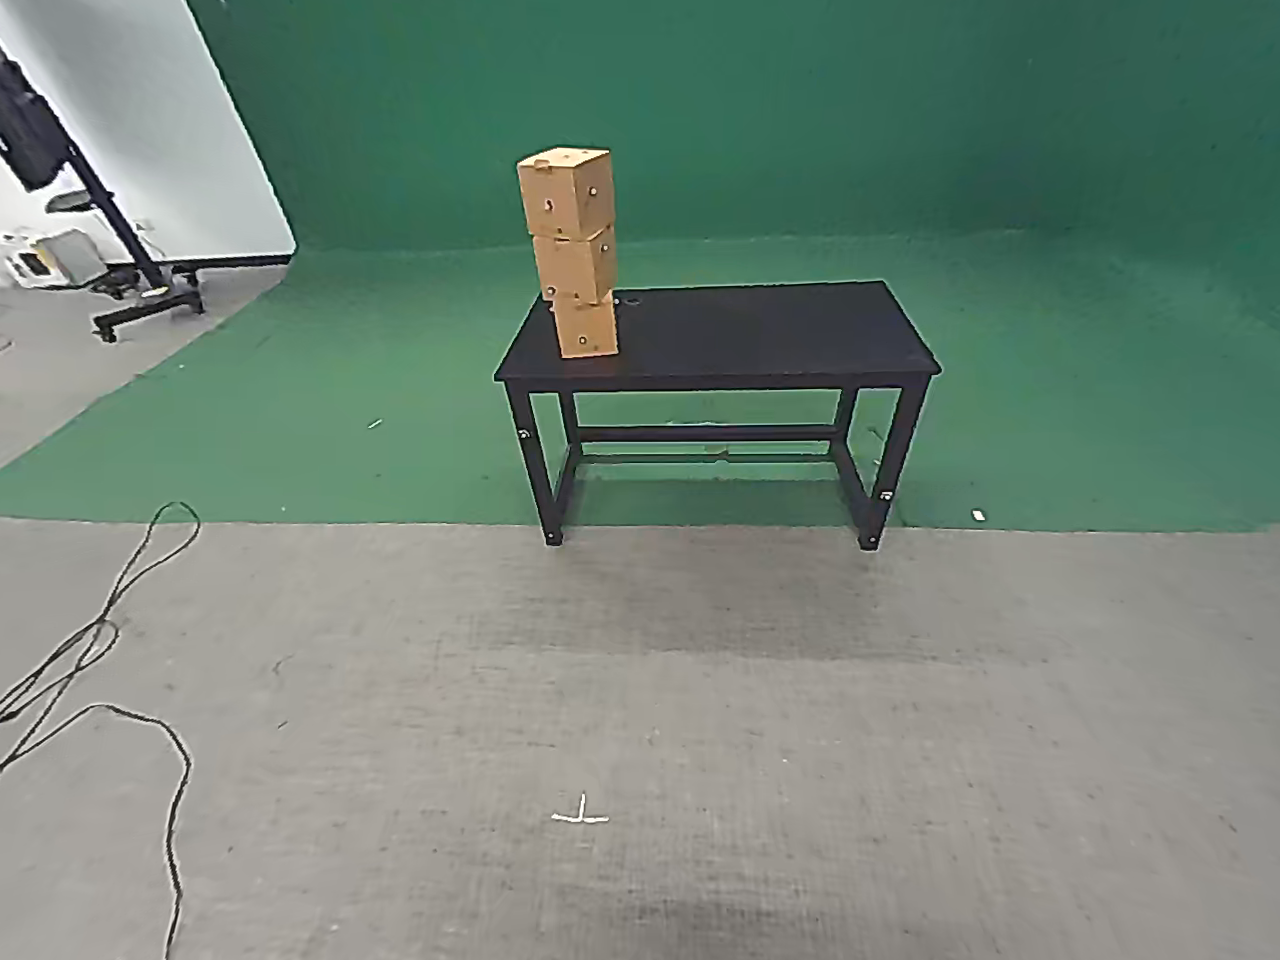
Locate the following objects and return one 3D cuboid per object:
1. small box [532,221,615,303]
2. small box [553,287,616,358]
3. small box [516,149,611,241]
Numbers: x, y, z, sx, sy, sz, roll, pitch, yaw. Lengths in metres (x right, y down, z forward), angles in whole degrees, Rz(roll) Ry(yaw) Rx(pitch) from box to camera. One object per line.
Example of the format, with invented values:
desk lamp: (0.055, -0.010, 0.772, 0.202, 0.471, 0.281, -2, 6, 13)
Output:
small box: (-0.173, -0.602, 1.487, 0.168, 0.176, 0.179, 10, 43, 15)
small box: (-0.159, -0.479, 1.595, 0.168, 0.176, 0.179, -5, 42, -1)
small box: (-0.185, -0.730, 1.384, 0.168, 0.176, 0.179, 18, 47, 22)
